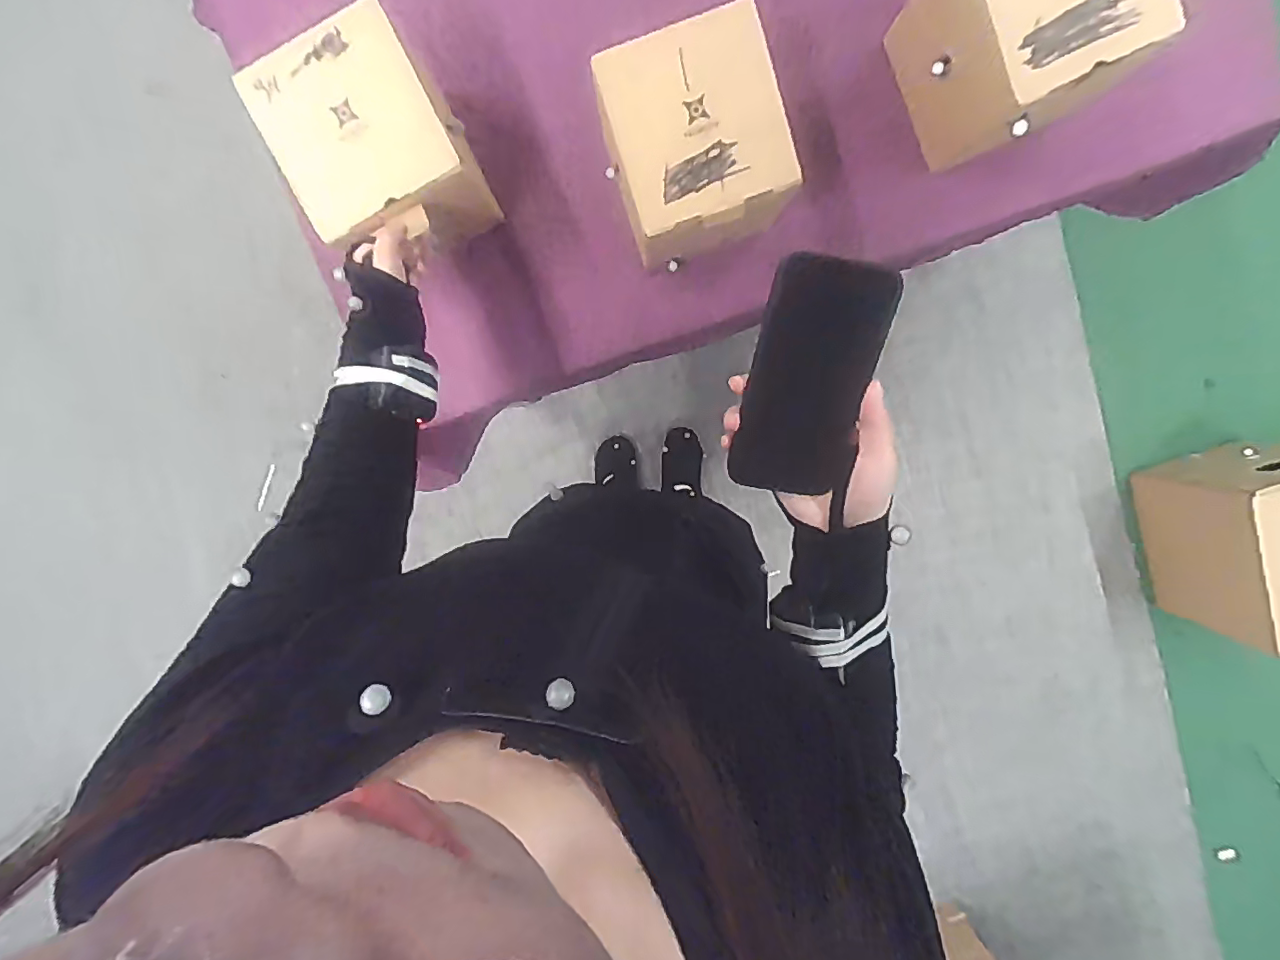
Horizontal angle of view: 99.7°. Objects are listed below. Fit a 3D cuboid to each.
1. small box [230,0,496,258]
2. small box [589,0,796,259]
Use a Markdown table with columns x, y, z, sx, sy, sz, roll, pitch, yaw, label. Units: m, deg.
| x | y | z | sx | sy | sz | roll | pitch | yaw | label |
| --- | --- | --- | --- | --- | --- | --- | --- | --- | --- |
| -0.286 | -0.370 | 0.606 | 0.168 | 0.176 | 0.179 | -26 | 99 | 4 | small box |
| 0.055 | -0.365 | 0.603 | 0.168 | 0.176 | 0.179 | -18 | 98 | 4 | small box |
